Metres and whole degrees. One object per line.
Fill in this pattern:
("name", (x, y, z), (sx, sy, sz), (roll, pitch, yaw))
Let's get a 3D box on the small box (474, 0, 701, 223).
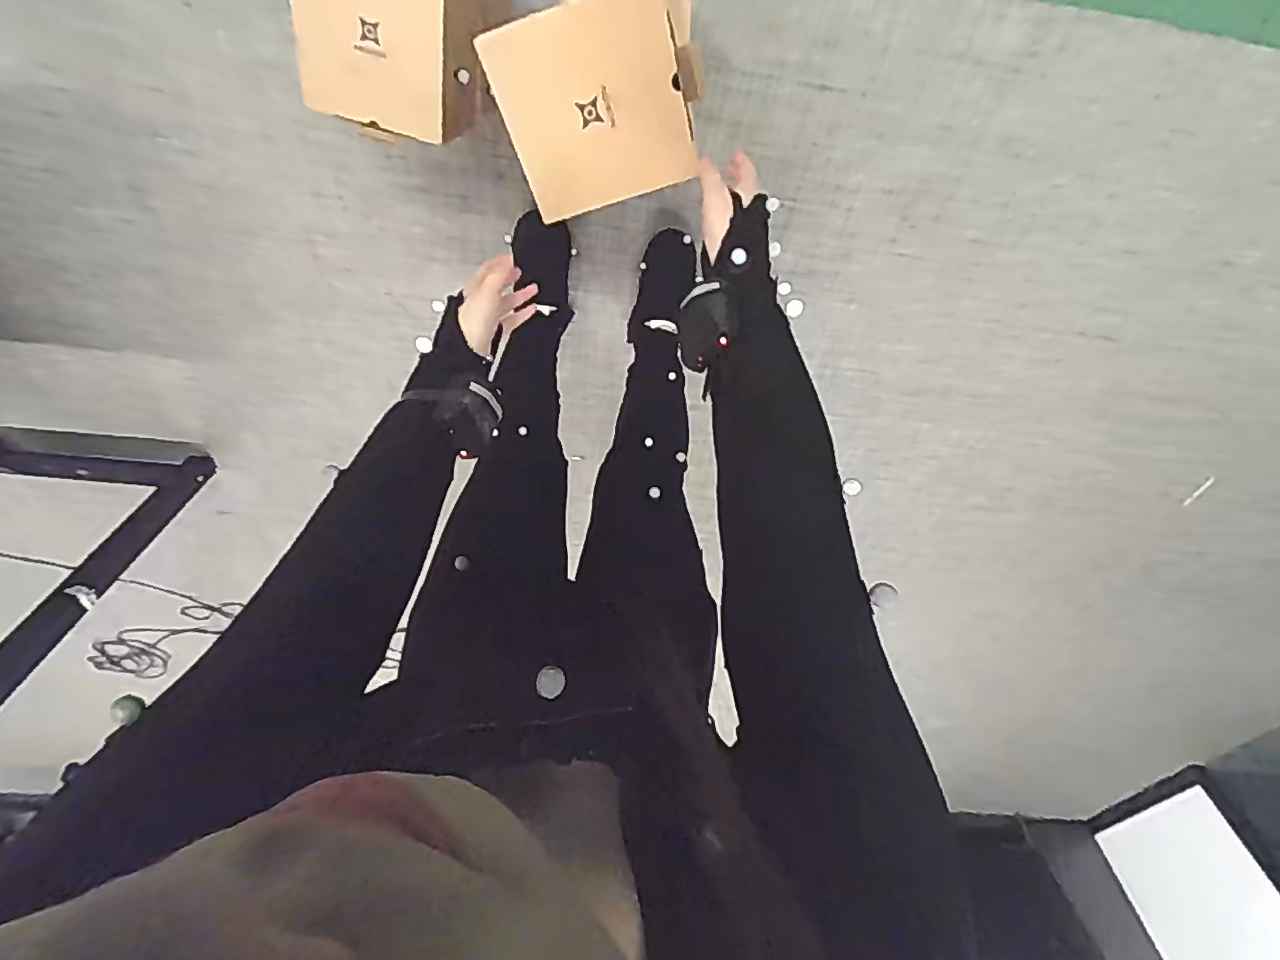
("small box", (-0.042, -0.399, 0.566), (0.179, 0.176, 0.168), (-13, 131, 11))
